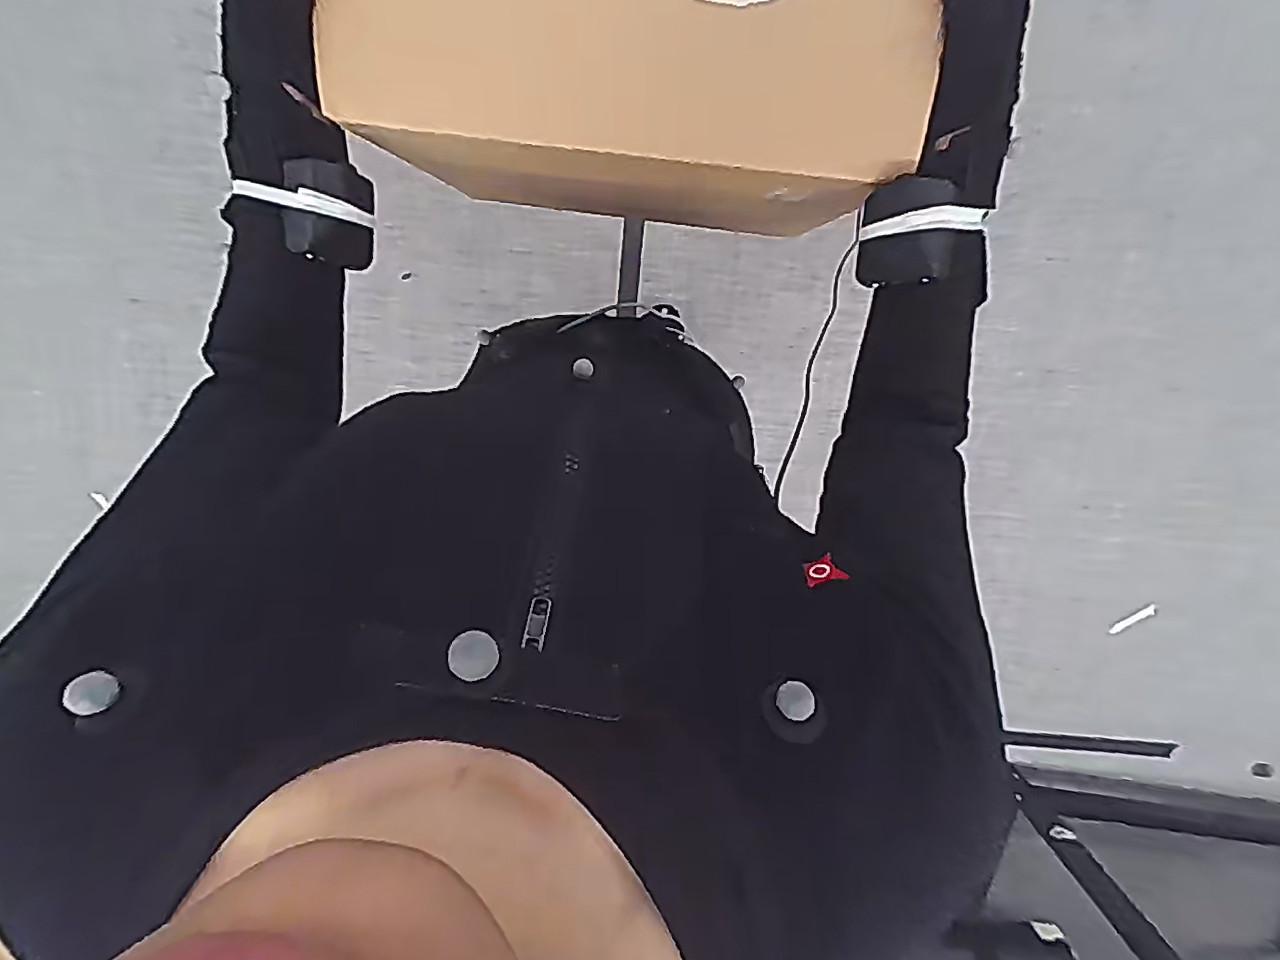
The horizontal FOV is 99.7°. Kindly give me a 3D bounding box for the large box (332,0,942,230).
[{"bbox_3d":[0.005,-0.420,0.472,0.408,0.320,0.320,6,110,-1],"label":"large box"}]
